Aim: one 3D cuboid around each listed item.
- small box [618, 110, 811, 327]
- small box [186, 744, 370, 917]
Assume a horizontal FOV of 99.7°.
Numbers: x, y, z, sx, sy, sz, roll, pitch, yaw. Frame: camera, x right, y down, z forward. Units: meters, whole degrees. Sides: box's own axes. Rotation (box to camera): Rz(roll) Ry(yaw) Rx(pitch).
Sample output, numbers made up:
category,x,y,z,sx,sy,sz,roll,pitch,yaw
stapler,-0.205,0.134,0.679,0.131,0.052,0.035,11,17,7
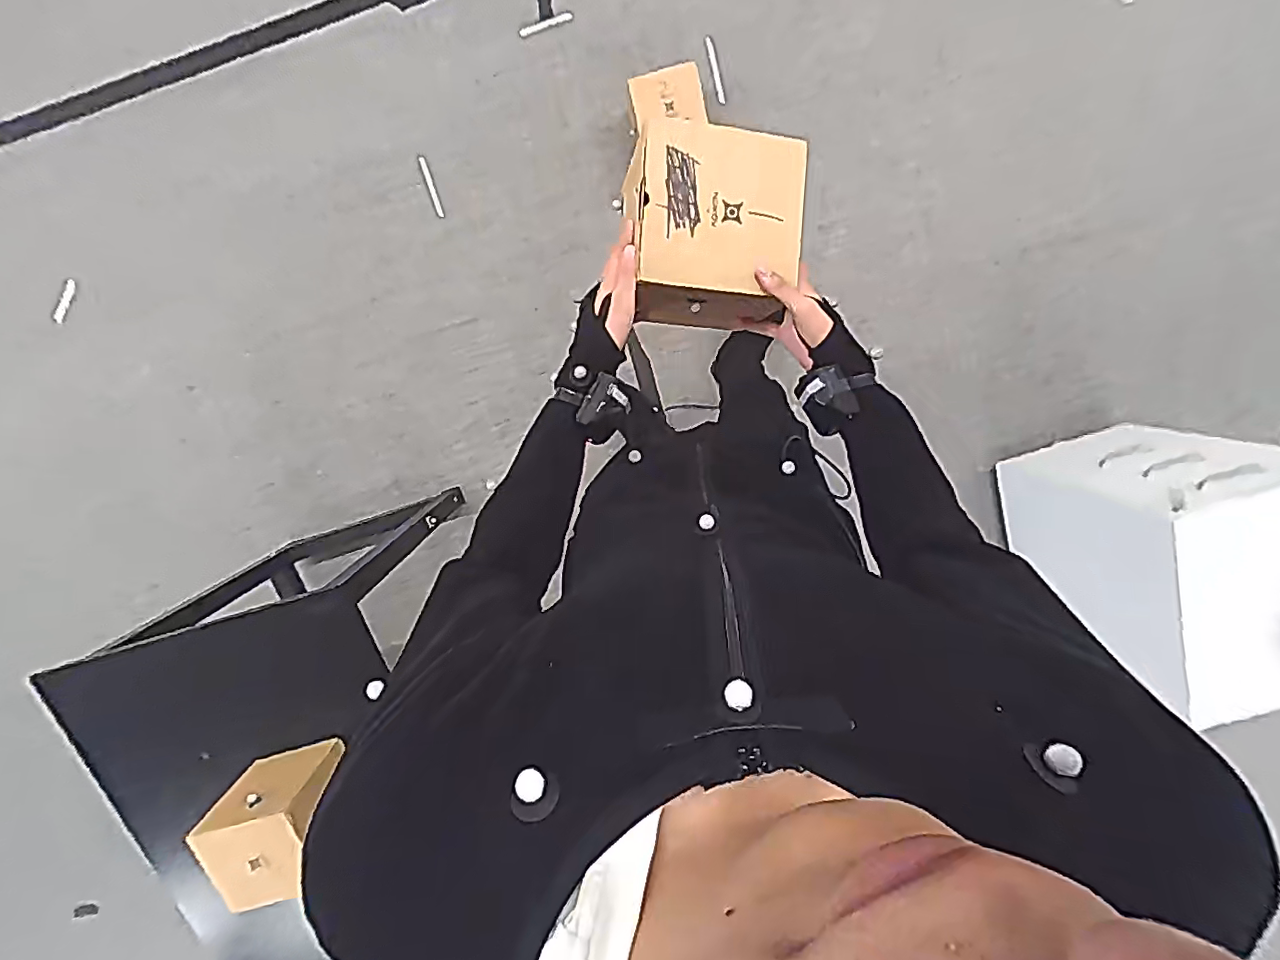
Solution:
category,x,y,z,sx,sy,sz,roll,pitch,yaw
small box,0.073,-0.281,0.624,0.179,0.176,0.168,2,93,-12
small box,-0.616,0.601,0.944,0.179,0.176,0.168,-17,103,3
